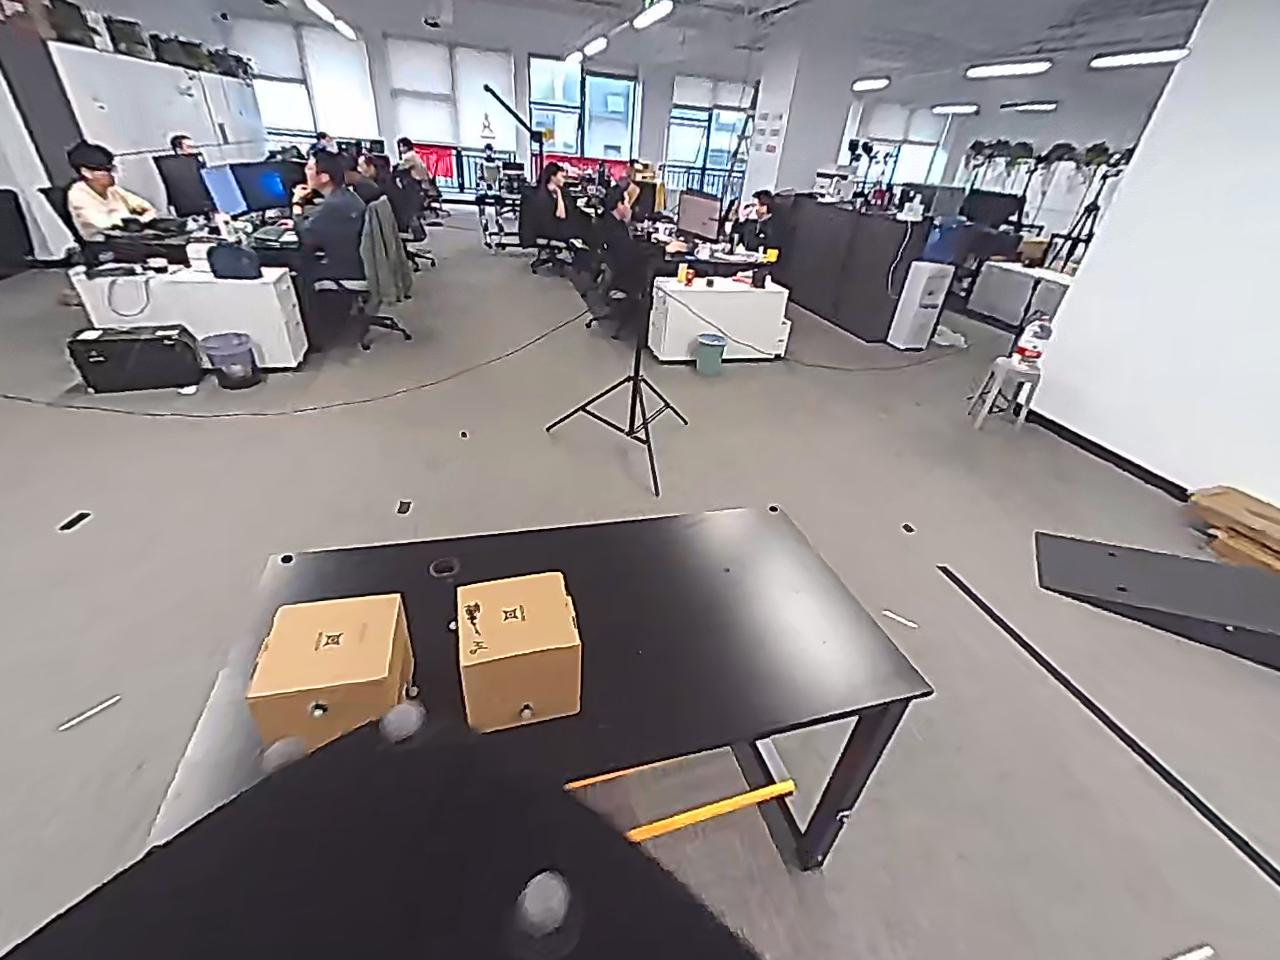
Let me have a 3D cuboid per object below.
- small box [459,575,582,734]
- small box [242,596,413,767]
[{"bbox_3d":[-0.199,0.282,0.885,0.179,0.176,0.168,-5,33,-17],"label":"small box"},{"bbox_3d":[-0.452,0.301,0.816,0.179,0.176,0.168,-4,34,-16],"label":"small box"}]
